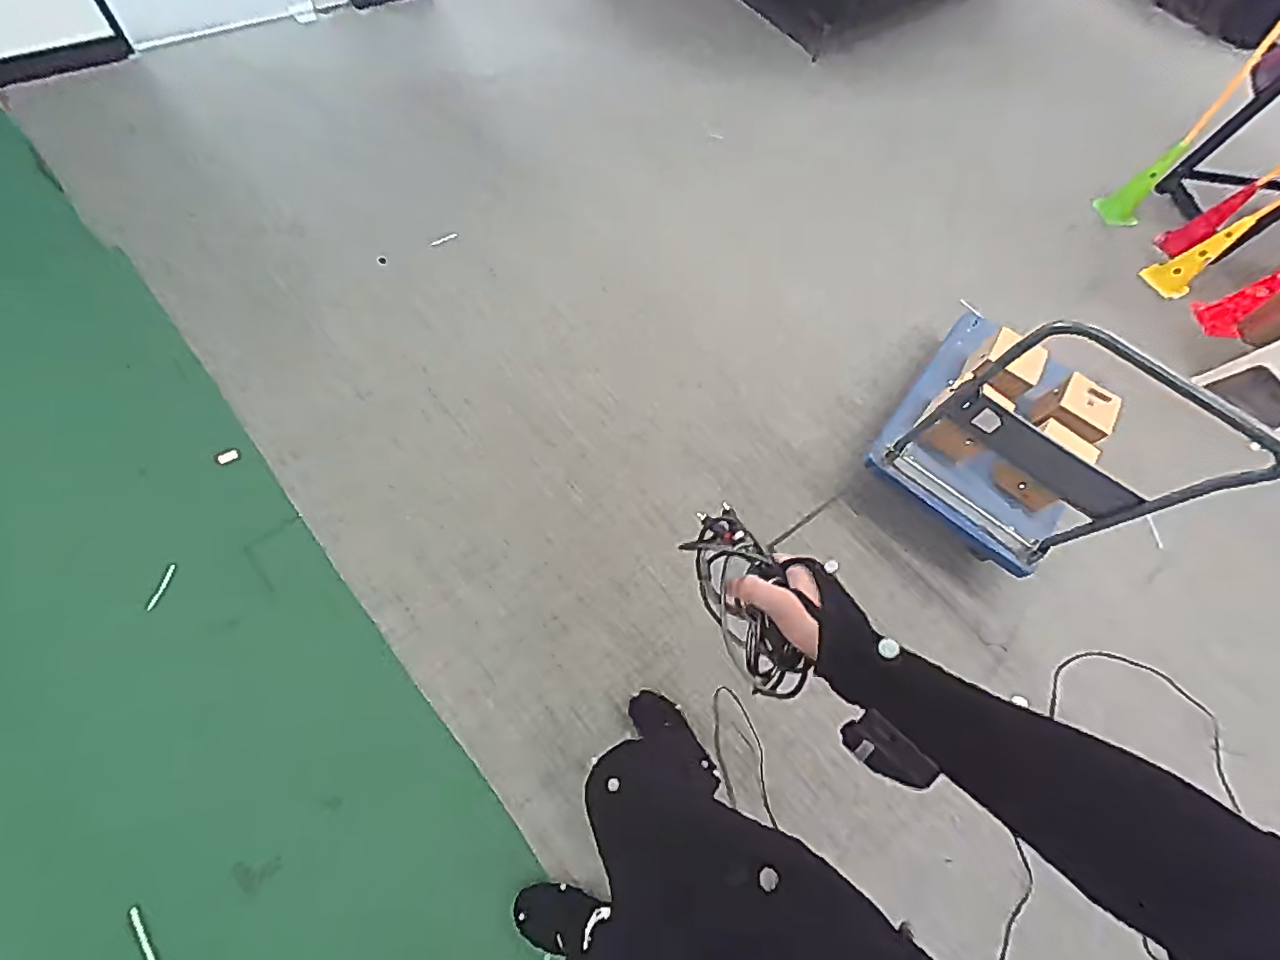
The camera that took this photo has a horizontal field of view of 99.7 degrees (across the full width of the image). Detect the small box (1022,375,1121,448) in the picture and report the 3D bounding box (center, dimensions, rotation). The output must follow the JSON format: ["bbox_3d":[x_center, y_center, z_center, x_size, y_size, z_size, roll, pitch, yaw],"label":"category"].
[{"bbox_3d":[1.387,-0.197,1.746,0.168,0.176,0.179,37,66,10],"label":"small box"}]

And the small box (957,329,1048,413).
[{"bbox_3d":[1.191,-0.354,1.787,0.168,0.176,0.179,36,64,7],"label":"small box"}]

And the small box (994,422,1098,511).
[{"bbox_3d":[1.226,-0.037,1.644,0.168,0.176,0.179,41,66,11],"label":"small box"}]
